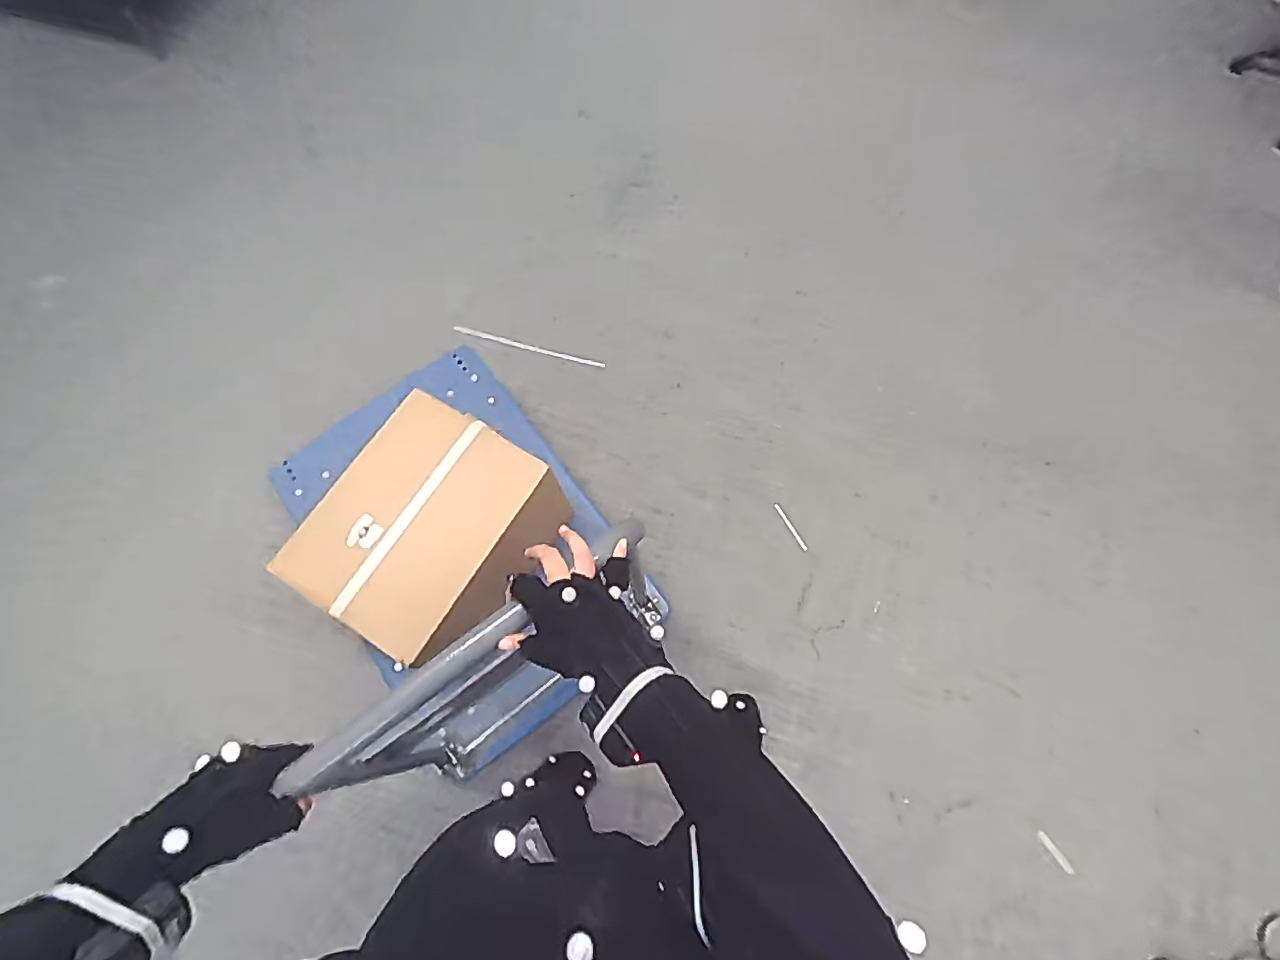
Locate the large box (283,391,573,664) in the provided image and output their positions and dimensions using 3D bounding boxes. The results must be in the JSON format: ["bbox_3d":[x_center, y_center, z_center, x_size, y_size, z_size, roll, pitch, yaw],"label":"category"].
[{"bbox_3d":[-0.381,0.107,1.089,0.320,0.320,0.408,30,75,11],"label":"large box"}]
